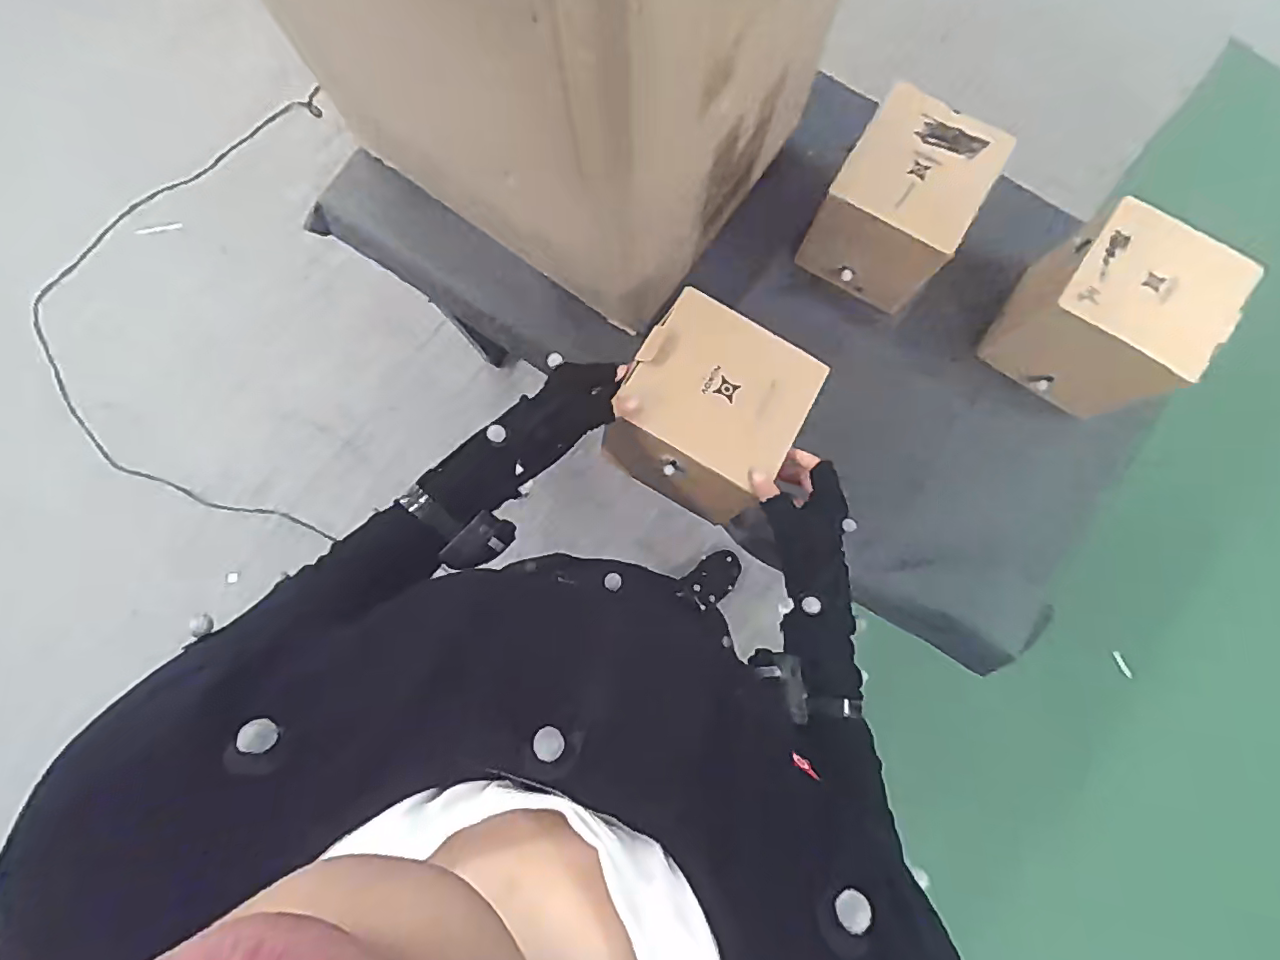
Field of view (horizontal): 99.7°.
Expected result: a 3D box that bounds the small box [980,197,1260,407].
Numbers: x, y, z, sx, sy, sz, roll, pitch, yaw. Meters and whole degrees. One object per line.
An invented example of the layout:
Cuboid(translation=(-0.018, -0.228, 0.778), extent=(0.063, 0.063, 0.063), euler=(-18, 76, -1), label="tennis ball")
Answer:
Cuboid(translation=(0.601, -0.213, 0.703), extent=(0.179, 0.176, 0.168), euler=(35, 85, 5), label="small box")
